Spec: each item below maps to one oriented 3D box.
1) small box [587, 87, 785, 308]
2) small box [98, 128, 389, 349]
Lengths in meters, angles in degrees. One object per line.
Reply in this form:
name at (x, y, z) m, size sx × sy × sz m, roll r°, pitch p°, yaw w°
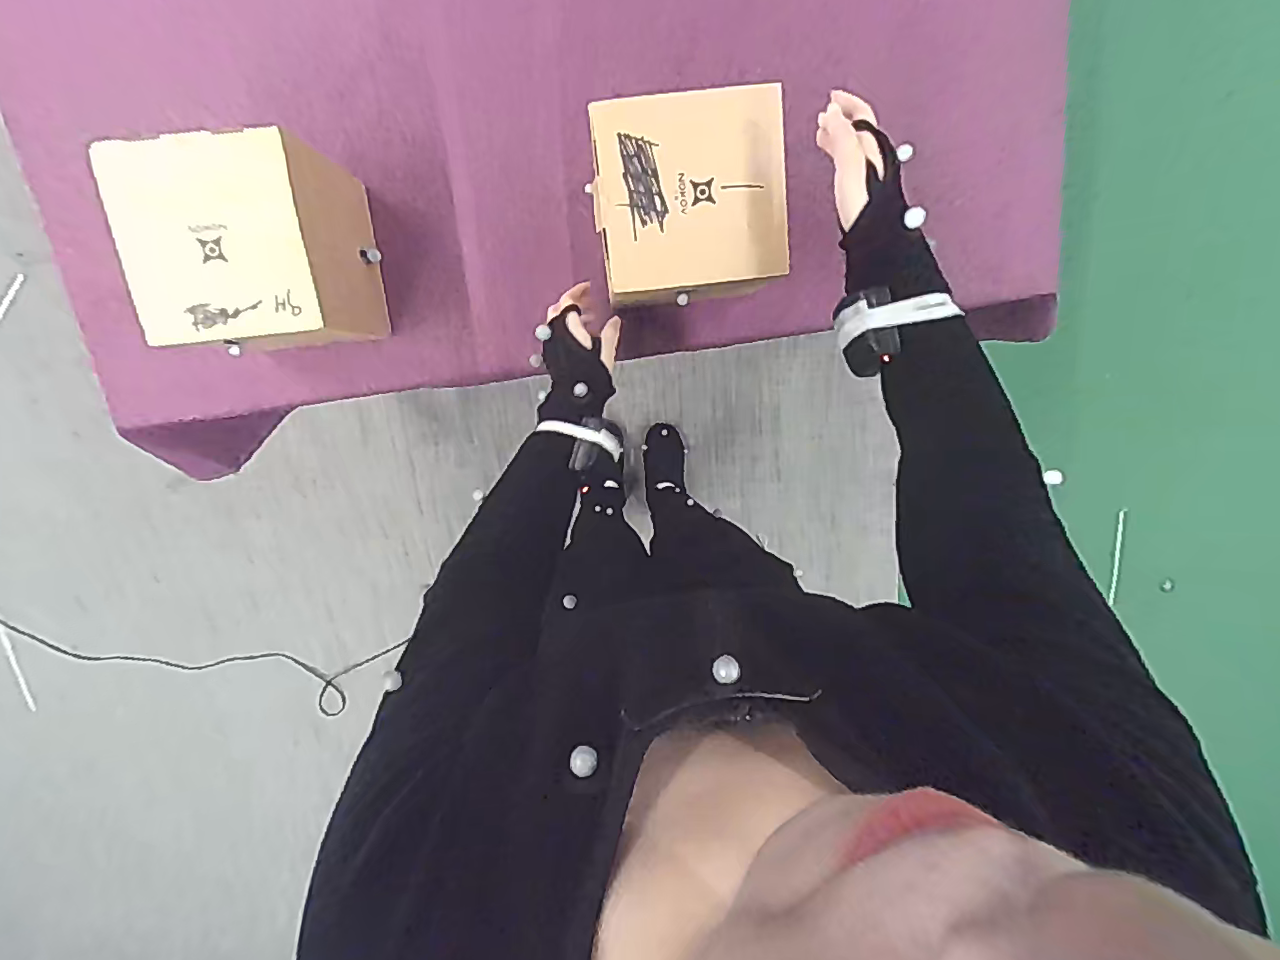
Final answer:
small box at (0.043, -0.283, 0.581) m, size 0.179 × 0.176 × 0.168 m, roll -7°, pitch 103°, yaw -1°
small box at (-0.391, -0.237, 0.571) m, size 0.168 × 0.176 × 0.179 m, roll -5°, pitch 102°, yaw -1°
